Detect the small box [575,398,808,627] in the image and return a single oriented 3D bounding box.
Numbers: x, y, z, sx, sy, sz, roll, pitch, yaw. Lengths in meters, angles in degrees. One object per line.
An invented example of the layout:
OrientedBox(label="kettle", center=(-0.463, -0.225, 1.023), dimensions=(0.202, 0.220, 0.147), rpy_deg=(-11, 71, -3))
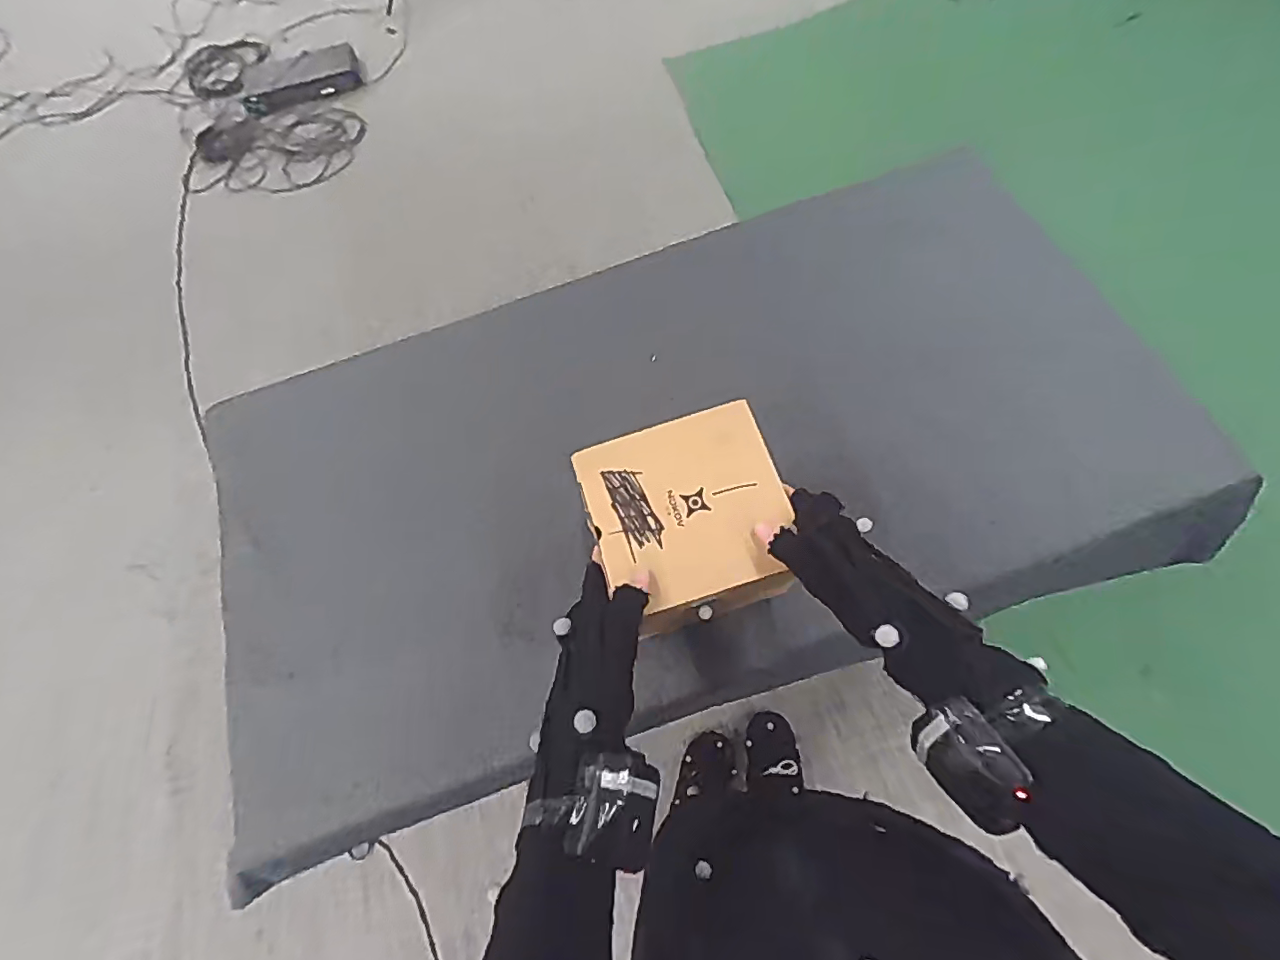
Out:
OrientedBox(label="small box", center=(0.049, 0.046, 0.561), dimensions=(0.179, 0.176, 0.168), rpy_deg=(-17, 70, -1))
